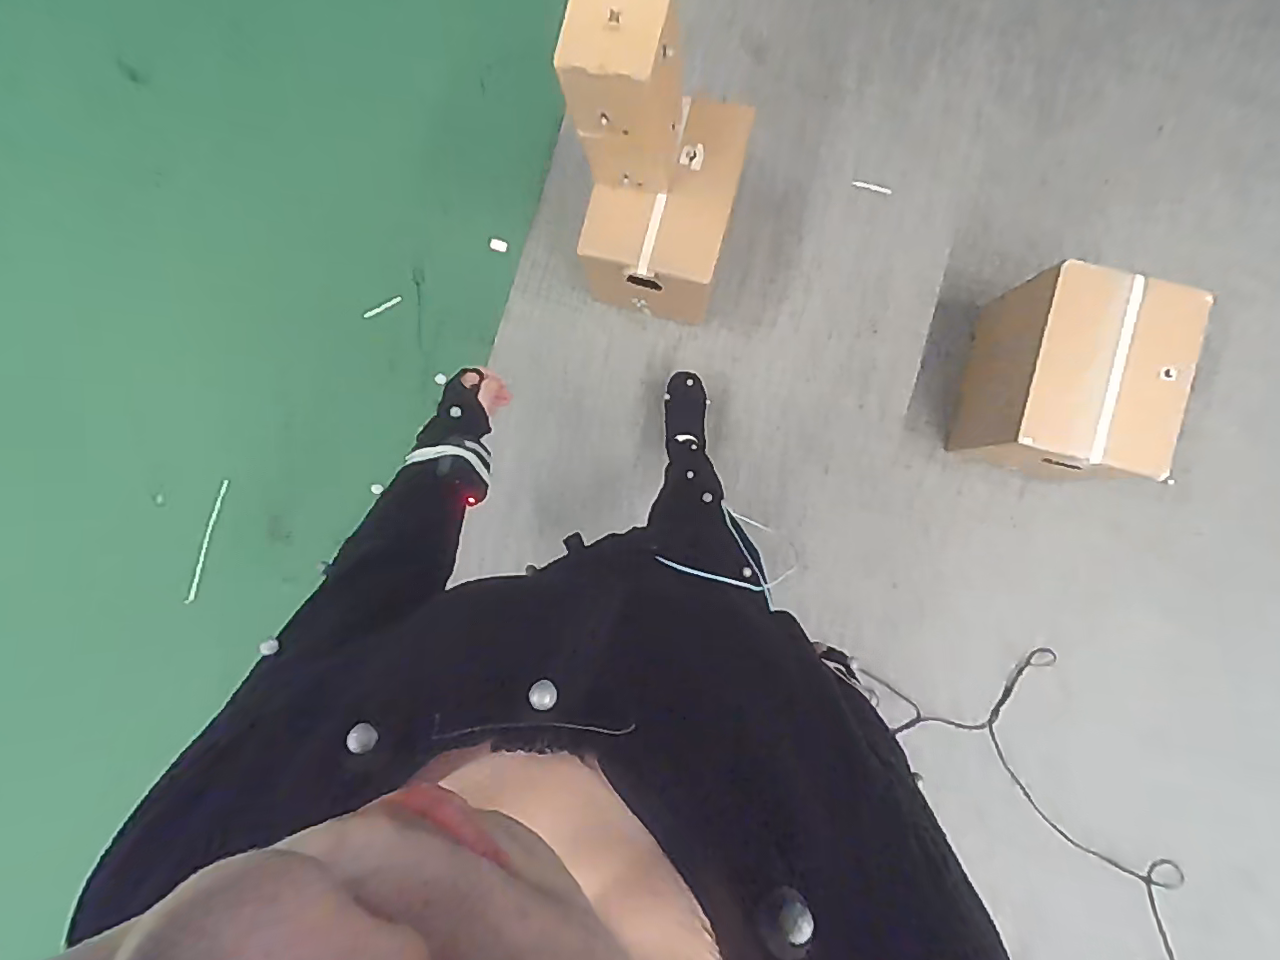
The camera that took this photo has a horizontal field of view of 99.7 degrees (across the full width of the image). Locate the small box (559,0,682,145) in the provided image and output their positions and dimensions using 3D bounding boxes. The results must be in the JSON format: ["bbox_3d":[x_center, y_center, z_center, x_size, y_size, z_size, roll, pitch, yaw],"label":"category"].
[{"bbox_3d":[-0.025,-0.737,0.951,0.168,0.176,0.179,15,91,7],"label":"small box"}]

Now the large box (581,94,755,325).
[{"bbox_3d":[0.073,-0.653,1.351,0.320,0.320,0.408,15,89,4],"label":"large box"}]
